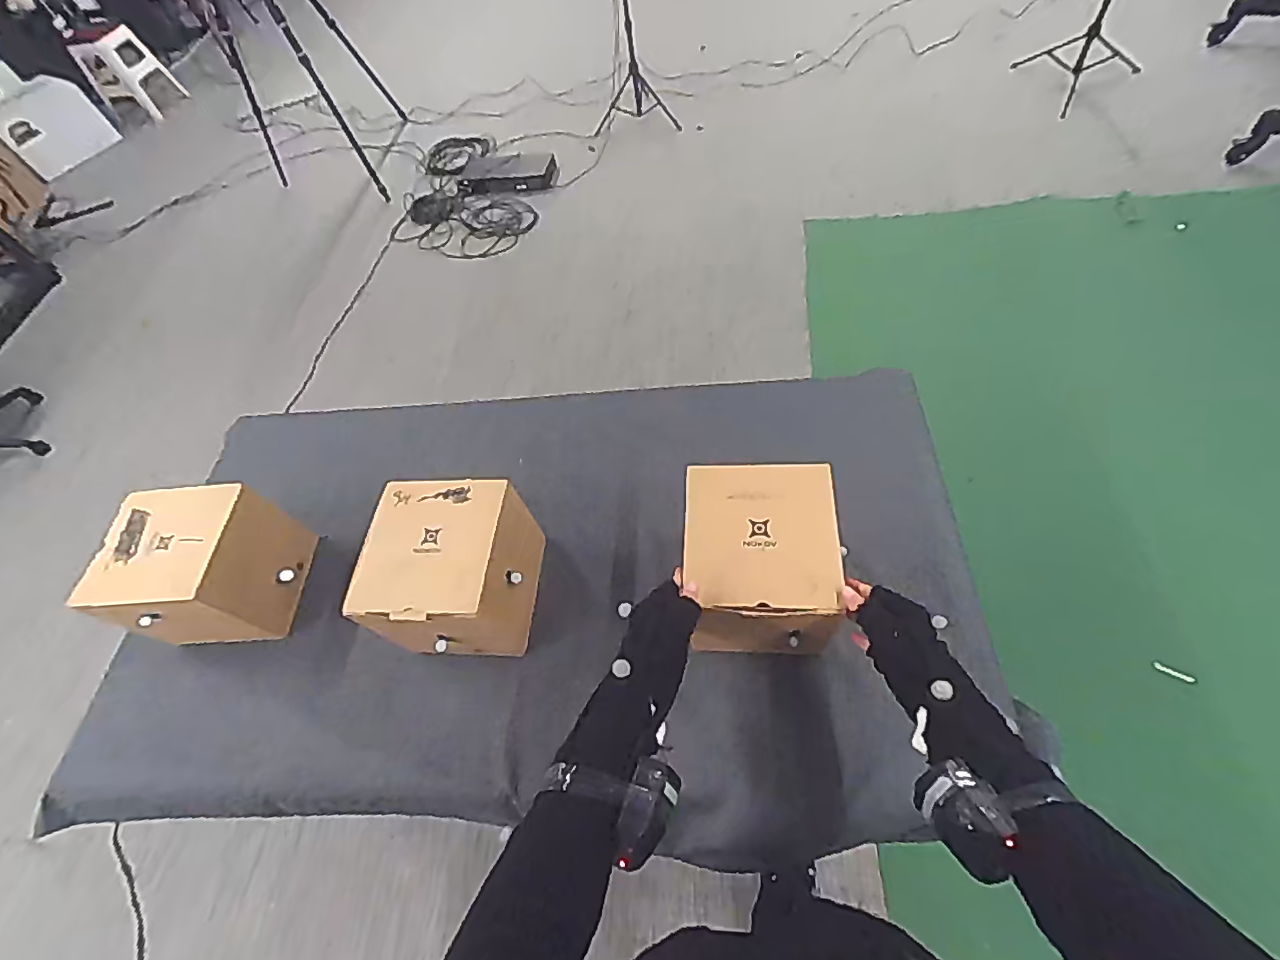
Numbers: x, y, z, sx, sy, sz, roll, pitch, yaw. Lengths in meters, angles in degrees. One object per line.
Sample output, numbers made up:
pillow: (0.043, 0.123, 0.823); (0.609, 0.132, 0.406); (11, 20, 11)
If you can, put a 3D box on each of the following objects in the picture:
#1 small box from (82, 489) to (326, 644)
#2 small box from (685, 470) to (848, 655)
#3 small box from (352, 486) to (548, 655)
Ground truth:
small box: (-0.596, 0.129, 0.768); (0.179, 0.176, 0.168); (-4, 58, 6)
small box: (0.145, 0.106, 0.658); (0.168, 0.176, 0.179); (-1, 57, 8)
small box: (-0.230, 0.124, 0.711); (0.168, 0.176, 0.179); (-1, 58, 9)
